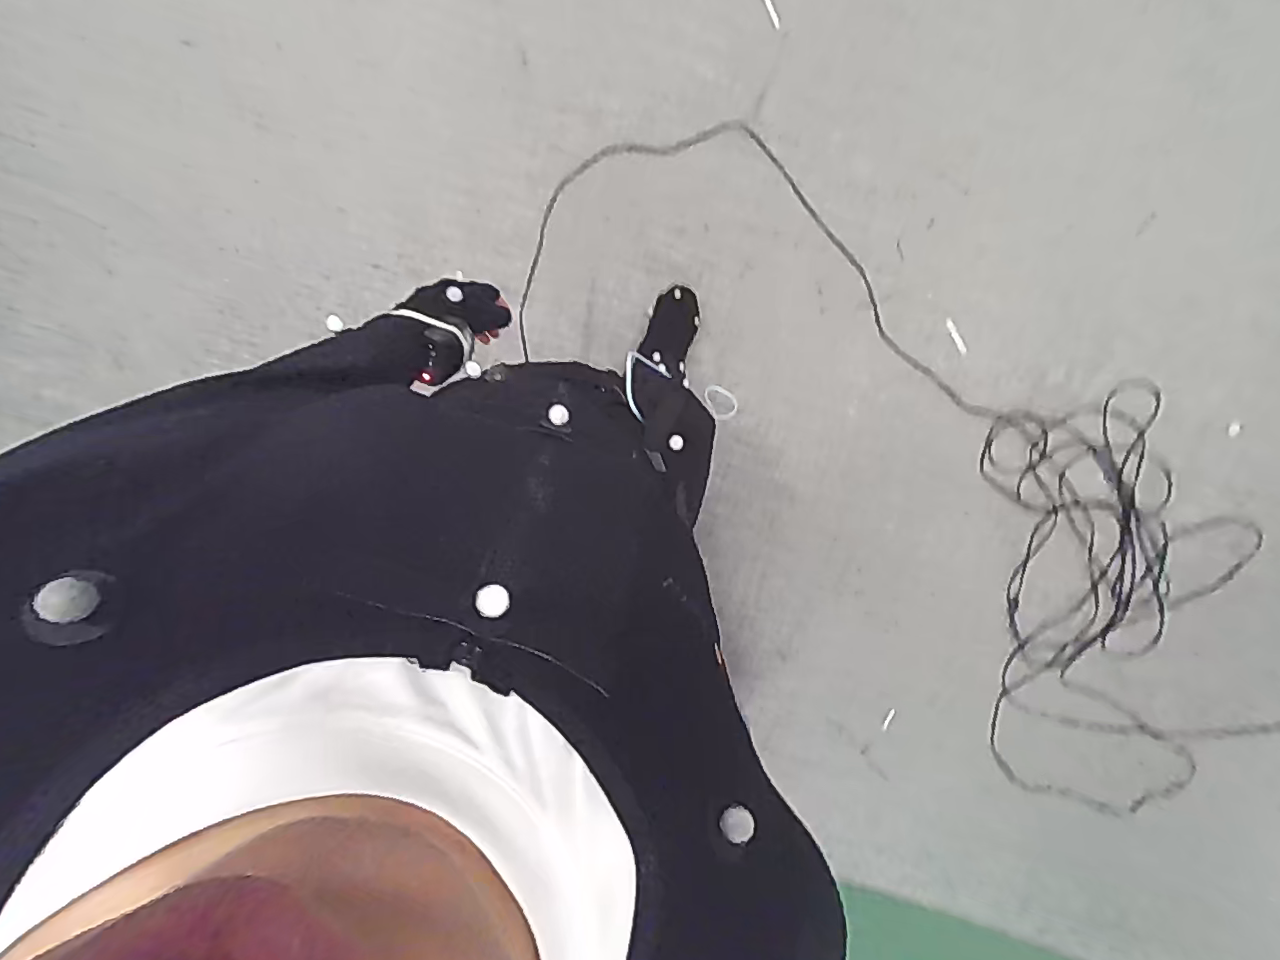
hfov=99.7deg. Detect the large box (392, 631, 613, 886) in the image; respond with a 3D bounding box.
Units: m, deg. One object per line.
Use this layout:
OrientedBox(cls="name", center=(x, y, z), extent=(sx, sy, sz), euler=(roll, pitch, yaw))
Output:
OrientedBox(cls="large box", center=(-0.302, 0.656, 1.317), extent=(0.320, 0.320, 0.408), euler=(-27, 102, 10))
